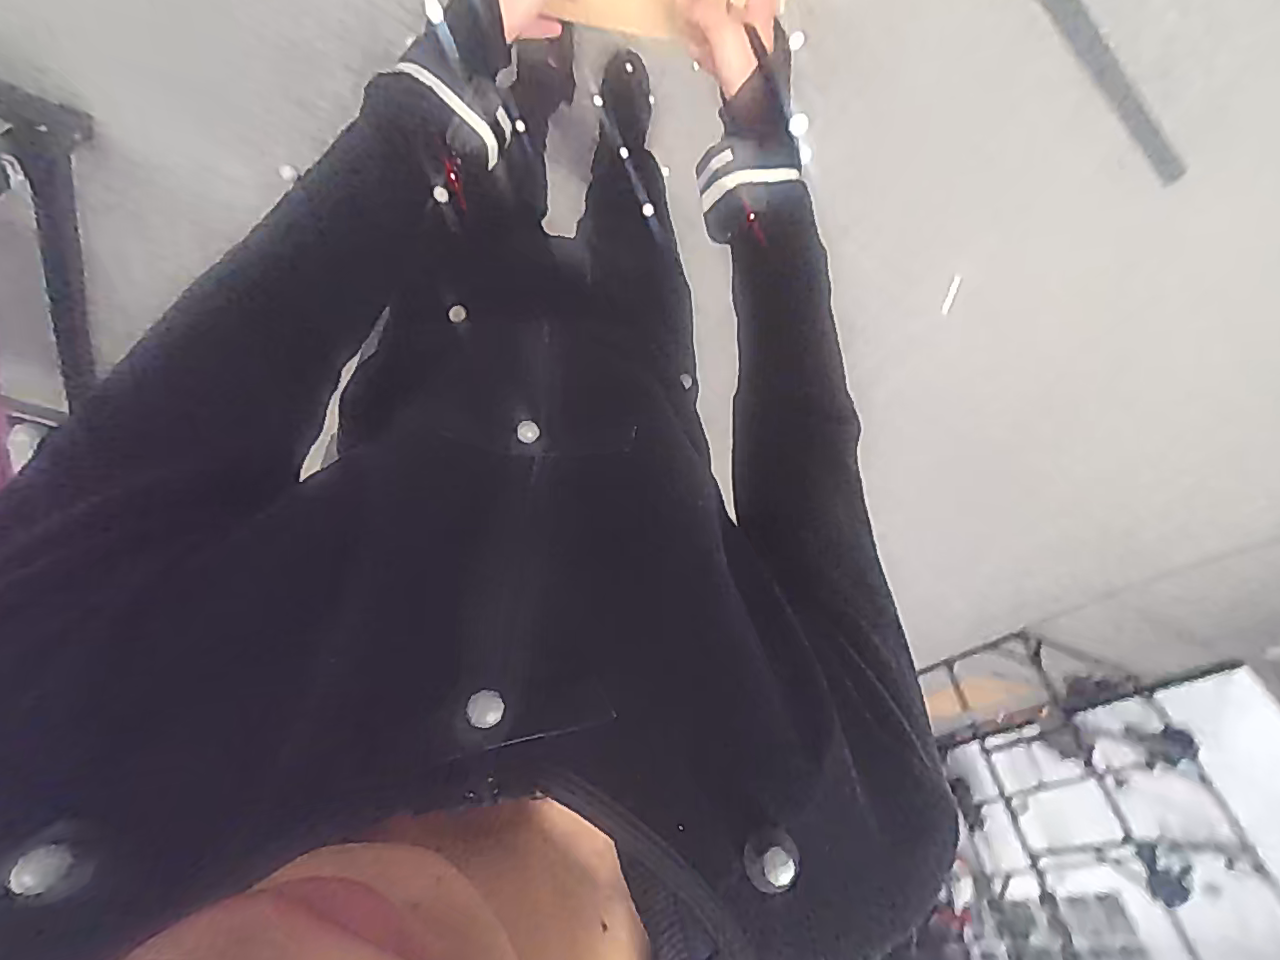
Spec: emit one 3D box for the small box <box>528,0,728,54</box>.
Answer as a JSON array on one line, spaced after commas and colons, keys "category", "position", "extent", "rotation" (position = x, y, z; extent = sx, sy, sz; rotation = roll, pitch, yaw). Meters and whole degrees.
[{"category": "small box", "position": [-0.001, -0.515, 0.471], "extent": [0.179, 0.176, 0.168], "rotation": [6, 147, -5]}]
